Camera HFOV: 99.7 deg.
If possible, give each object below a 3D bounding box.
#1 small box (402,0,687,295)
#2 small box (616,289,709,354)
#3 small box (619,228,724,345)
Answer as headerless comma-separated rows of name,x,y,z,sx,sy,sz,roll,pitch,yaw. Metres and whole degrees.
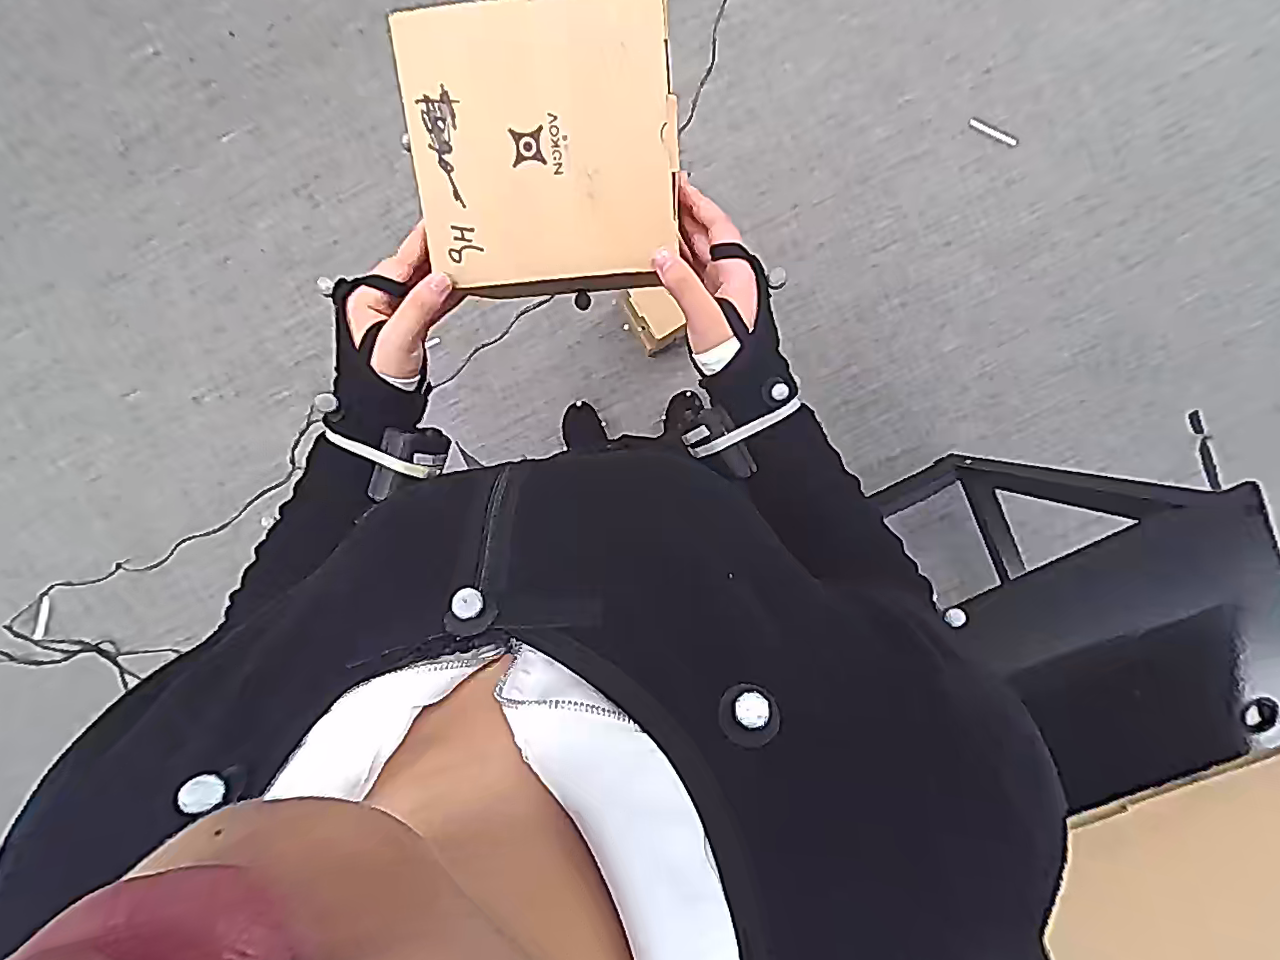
small box,-0.060,-0.246,0.437,0.179,0.176,0.168,-4,105,2
small box,0.052,-0.435,1.366,0.179,0.176,0.168,-29,97,3
small box,0.061,-0.418,1.204,0.179,0.176,0.168,-32,97,2
